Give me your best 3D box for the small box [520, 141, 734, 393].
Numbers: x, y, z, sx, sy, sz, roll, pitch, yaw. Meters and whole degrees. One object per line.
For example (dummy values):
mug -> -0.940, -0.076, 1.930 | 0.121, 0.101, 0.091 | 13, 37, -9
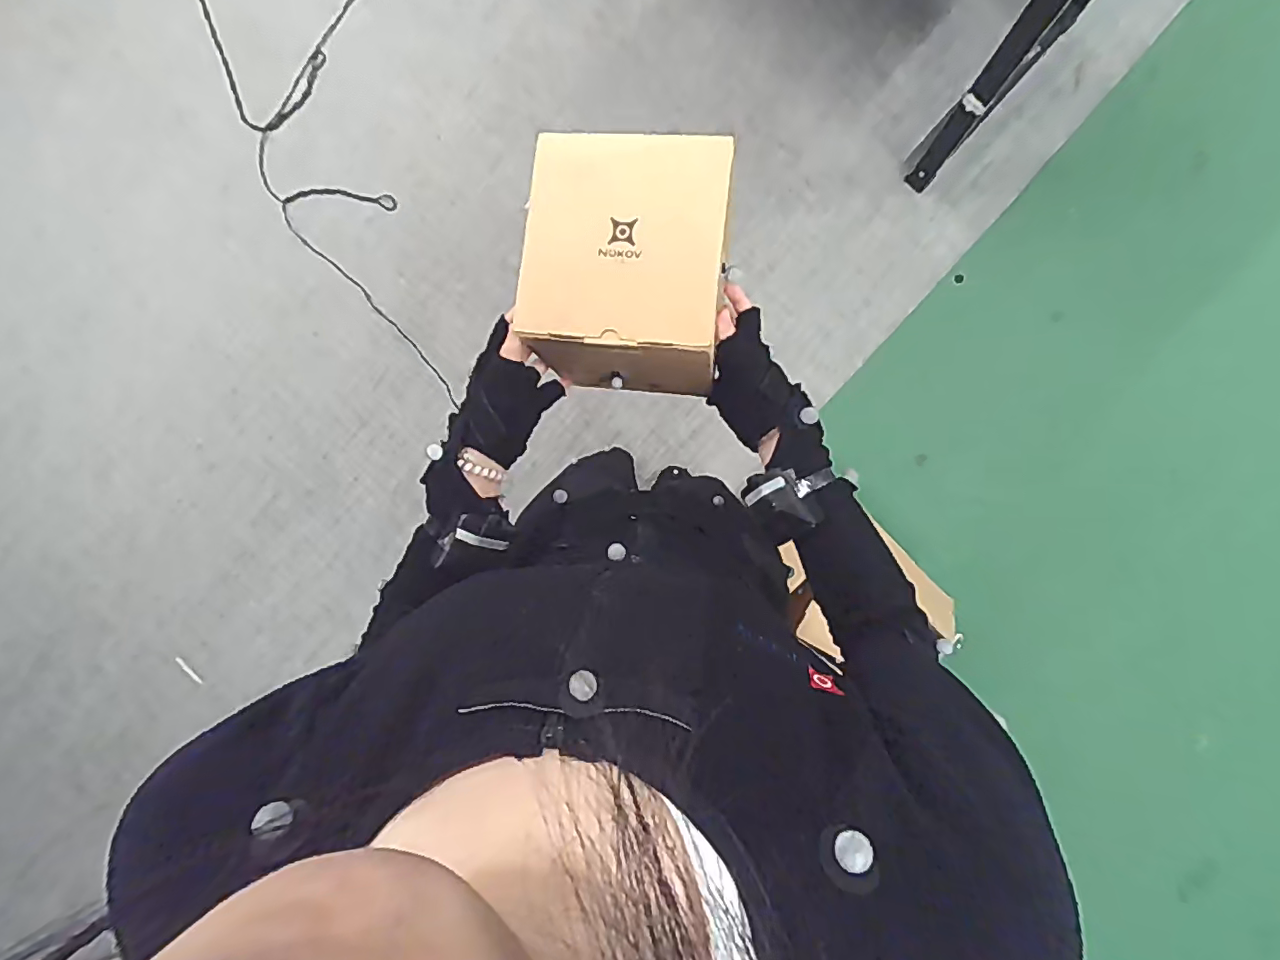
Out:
small box -> -0.003, -0.195, 0.534 | 0.168, 0.176, 0.179 | 6, 89, 8
